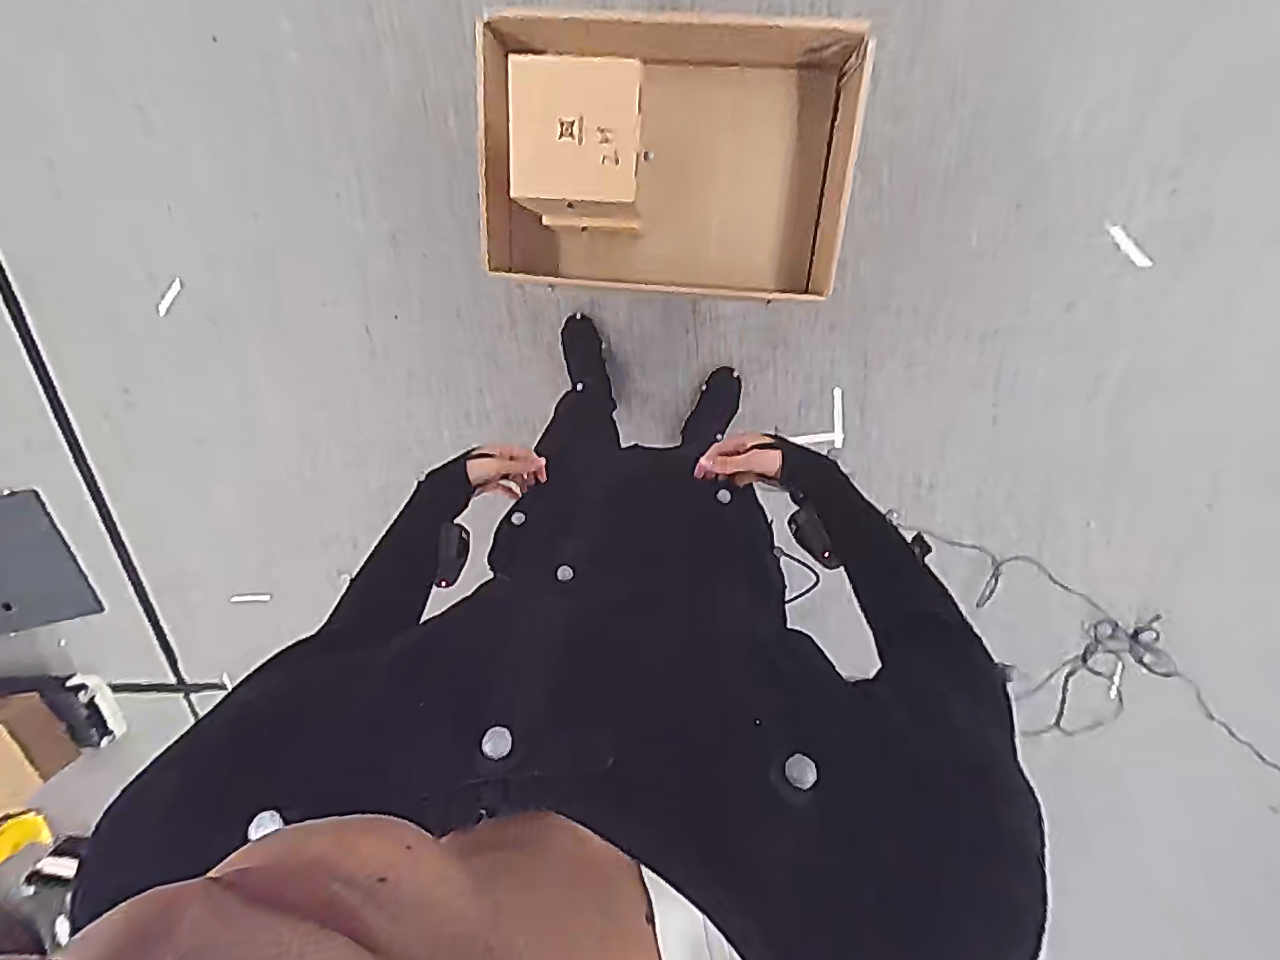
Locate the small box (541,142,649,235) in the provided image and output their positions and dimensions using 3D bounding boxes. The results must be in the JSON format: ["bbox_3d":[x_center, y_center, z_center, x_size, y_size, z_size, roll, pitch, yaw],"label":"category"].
[{"bbox_3d":[-0.073,-0.529,0.938,0.168,0.176,0.179,3,109,3],"label":"small box"}]

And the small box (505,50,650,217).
[{"bbox_3d":[-0.083,-0.484,0.780,0.179,0.176,0.168,5,109,3],"label":"small box"}]
